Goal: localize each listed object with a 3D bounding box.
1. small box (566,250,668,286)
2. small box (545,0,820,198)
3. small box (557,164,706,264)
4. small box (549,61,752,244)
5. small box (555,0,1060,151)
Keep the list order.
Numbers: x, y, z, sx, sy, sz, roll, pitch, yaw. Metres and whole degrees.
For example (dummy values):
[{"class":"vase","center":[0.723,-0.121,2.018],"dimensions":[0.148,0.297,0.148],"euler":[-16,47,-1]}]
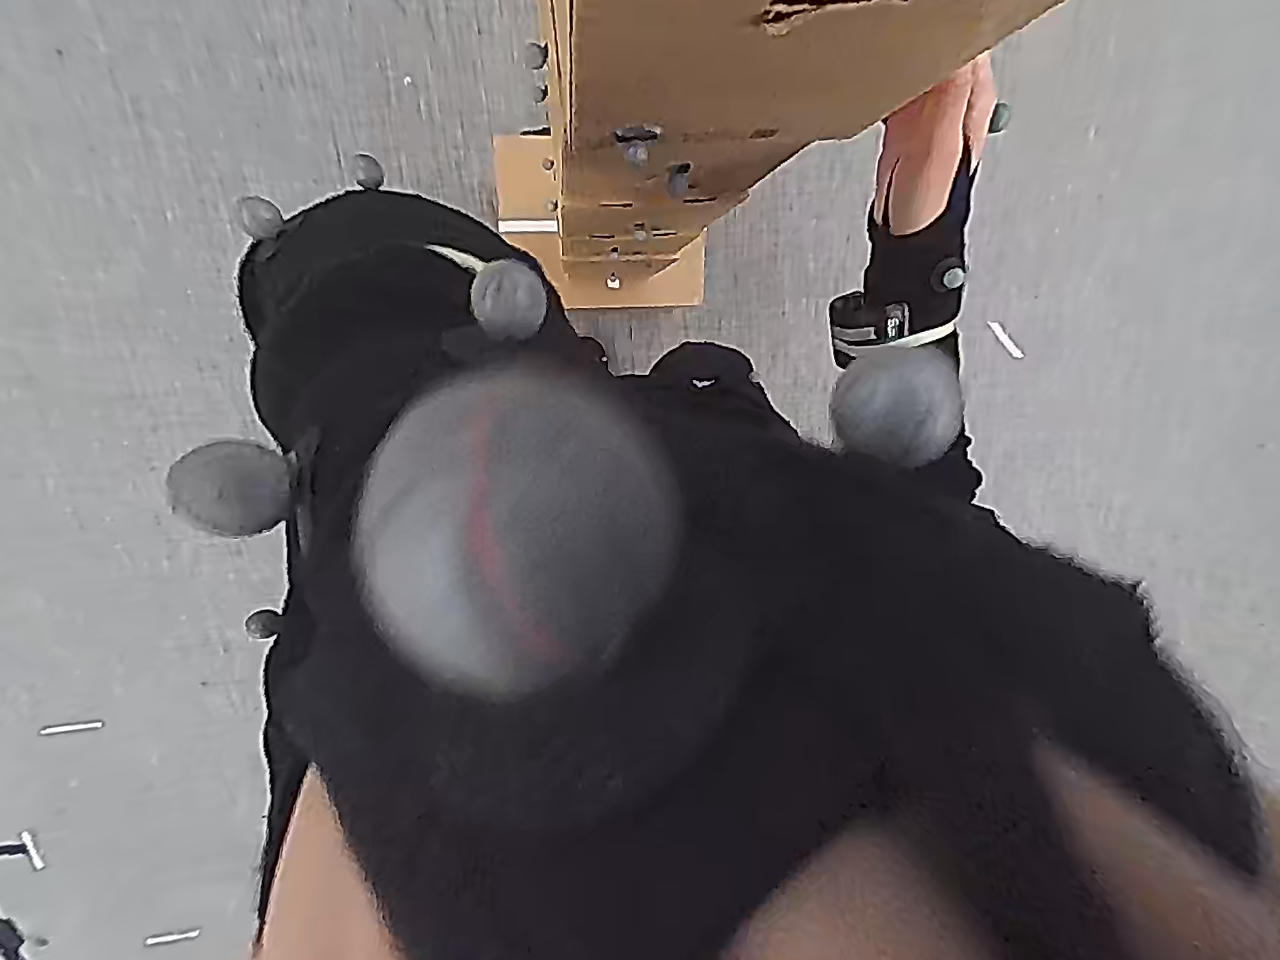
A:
[{"class":"small box","center":[-0.050,-0.452,0.993],"dimensions":[0.179,0.176,0.168],"euler":[-6,107,-7]},{"class":"small box","center":[0.022,-0.298,0.361],"dimensions":[0.168,0.176,0.179],"euler":[-7,107,-6]},{"class":"small box","center":[-0.018,-0.377,0.677],"dimensions":[0.168,0.176,0.179],"euler":[-5,106,-6]},{"class":"small box","center":[0.002,-0.337,0.519],"dimensions":[0.168,0.176,0.179],"euler":[-6,107,-5]},{"class":"small box","center":[0.048,-0.245,0.206],"dimensions":[0.168,0.176,0.179],"euler":[-7,106,-5]}]
